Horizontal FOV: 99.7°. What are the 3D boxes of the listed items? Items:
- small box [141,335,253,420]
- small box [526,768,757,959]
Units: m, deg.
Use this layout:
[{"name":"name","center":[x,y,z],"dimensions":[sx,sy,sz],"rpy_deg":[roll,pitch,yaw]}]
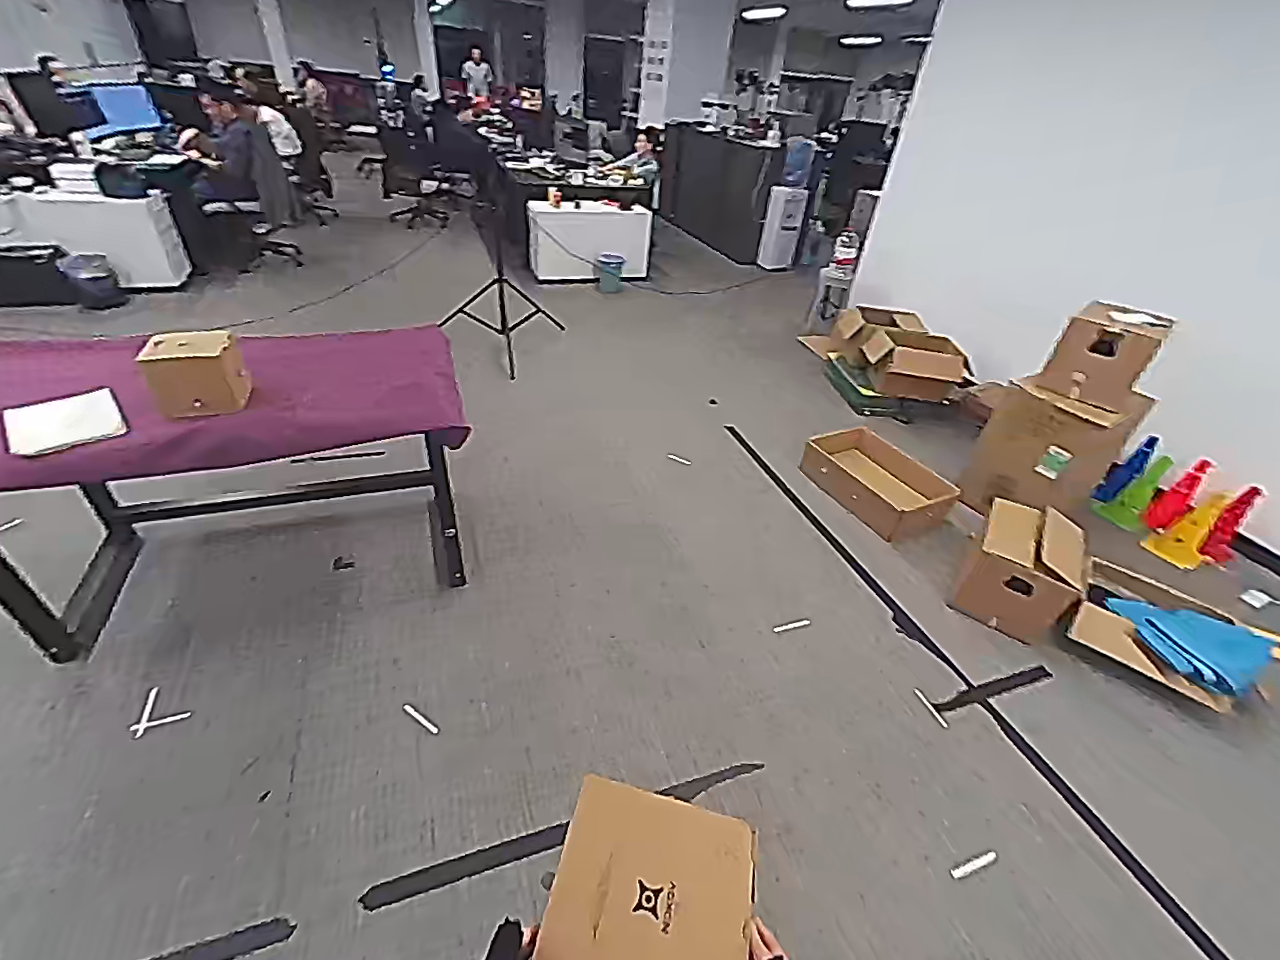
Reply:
[{"name":"small box","center":[-1.173,-0.276,1.452],"dimensions":[0.179,0.176,0.168],"rpy_deg":[-8,38,-20]},{"name":"small box","center":[0.000,0.409,0.511],"dimensions":[0.179,0.176,0.168],"rpy_deg":[12,41,5]}]
